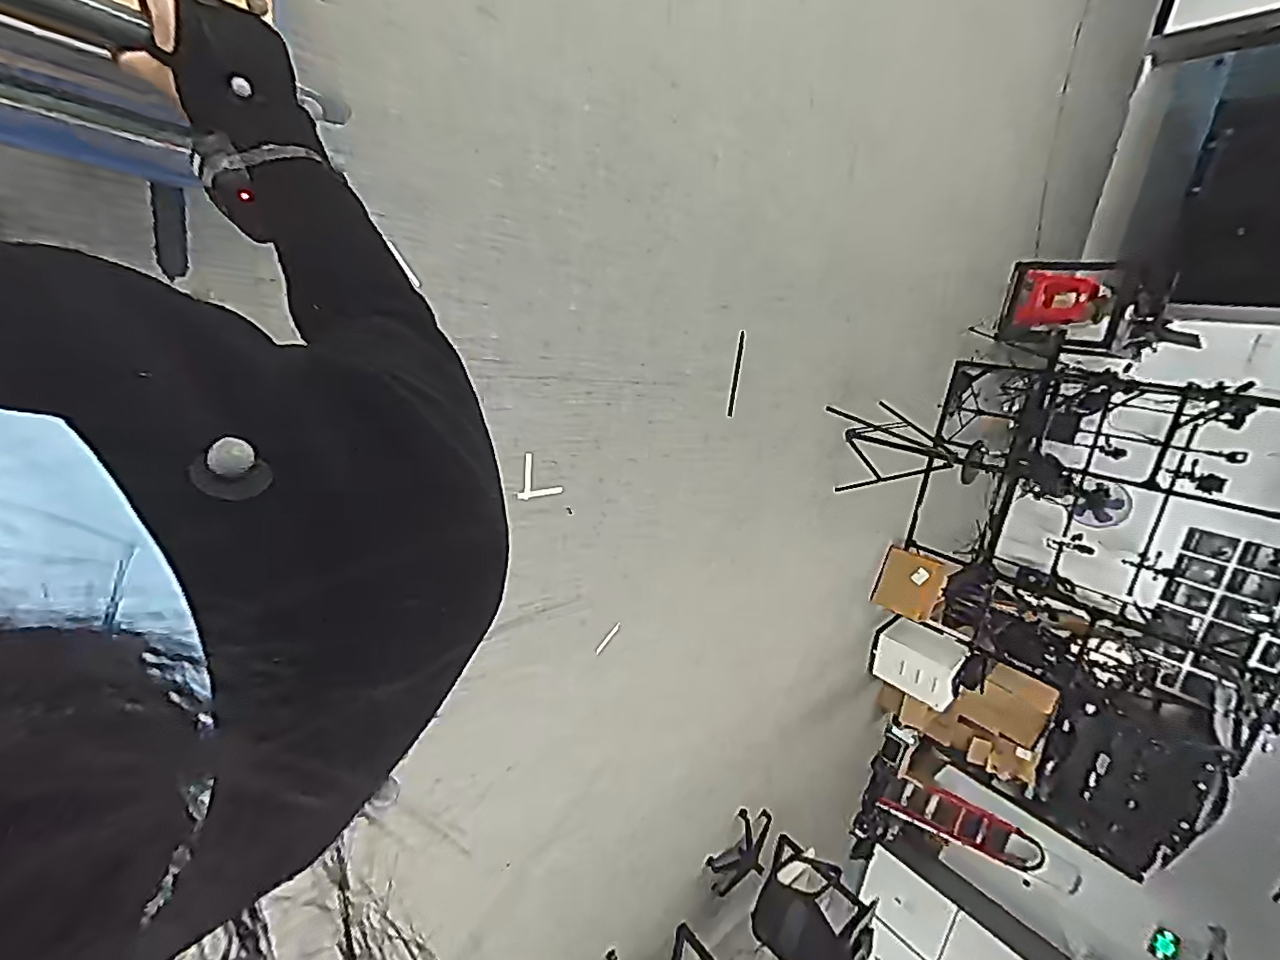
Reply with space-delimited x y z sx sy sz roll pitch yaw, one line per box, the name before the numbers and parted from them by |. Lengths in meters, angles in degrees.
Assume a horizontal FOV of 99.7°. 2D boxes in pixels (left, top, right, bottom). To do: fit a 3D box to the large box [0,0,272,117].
large box | -0.751 -0.725 0.691 0.408 0.320 0.320 -8 113 -42
